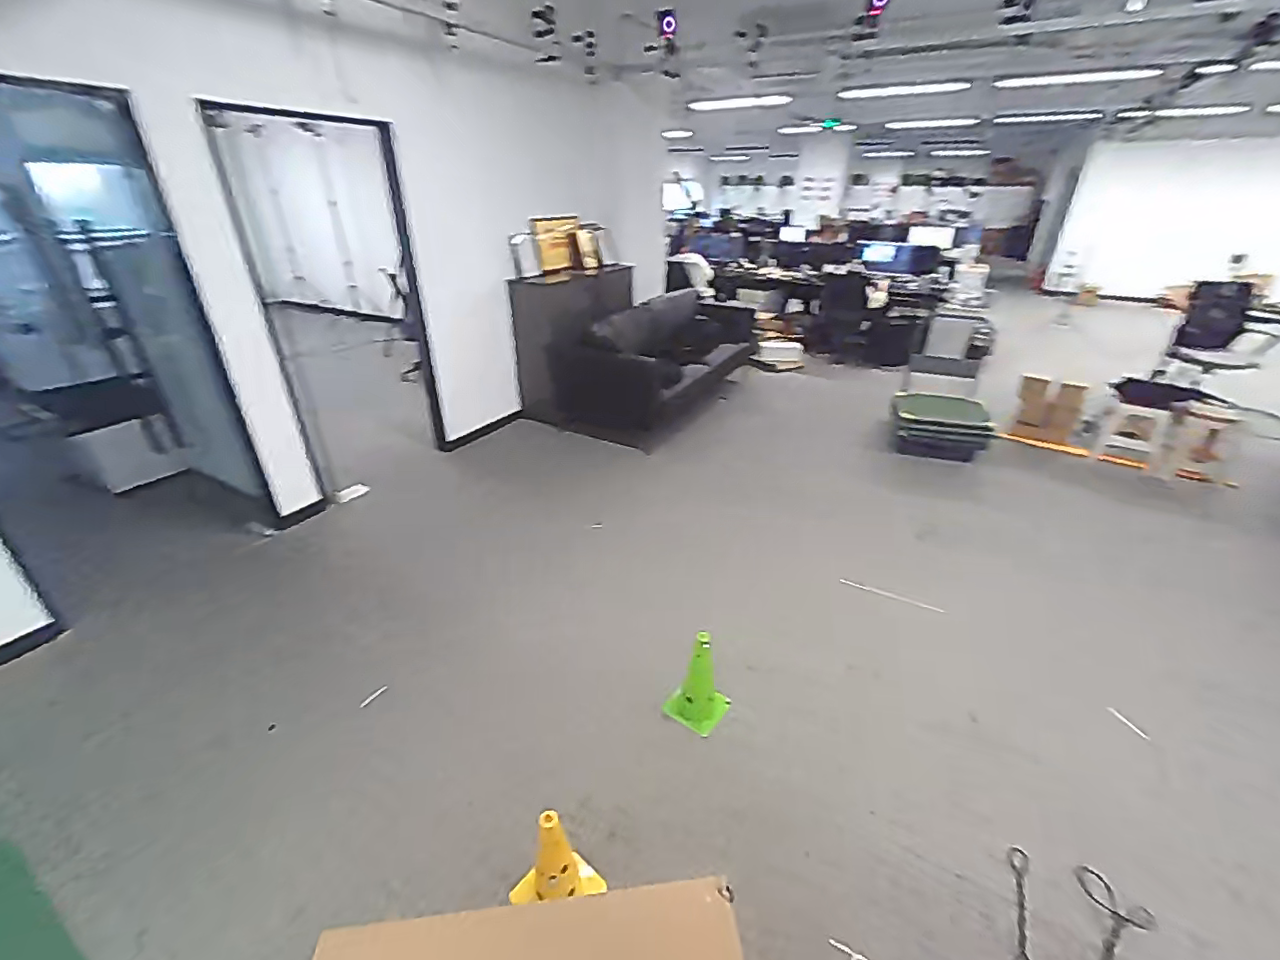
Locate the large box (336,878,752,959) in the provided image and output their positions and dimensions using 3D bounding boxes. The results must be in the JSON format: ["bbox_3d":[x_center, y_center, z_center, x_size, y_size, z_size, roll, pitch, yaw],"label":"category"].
[{"bbox_3d":[-0.082,0.646,0.517,0.408,0.320,0.320,-3,37,-6],"label":"large box"}]

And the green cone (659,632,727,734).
[{"bbox_3d":[0.197,0.686,1.939,0.200,0.368,0.202,19,35,31],"label":"green cone"}]
